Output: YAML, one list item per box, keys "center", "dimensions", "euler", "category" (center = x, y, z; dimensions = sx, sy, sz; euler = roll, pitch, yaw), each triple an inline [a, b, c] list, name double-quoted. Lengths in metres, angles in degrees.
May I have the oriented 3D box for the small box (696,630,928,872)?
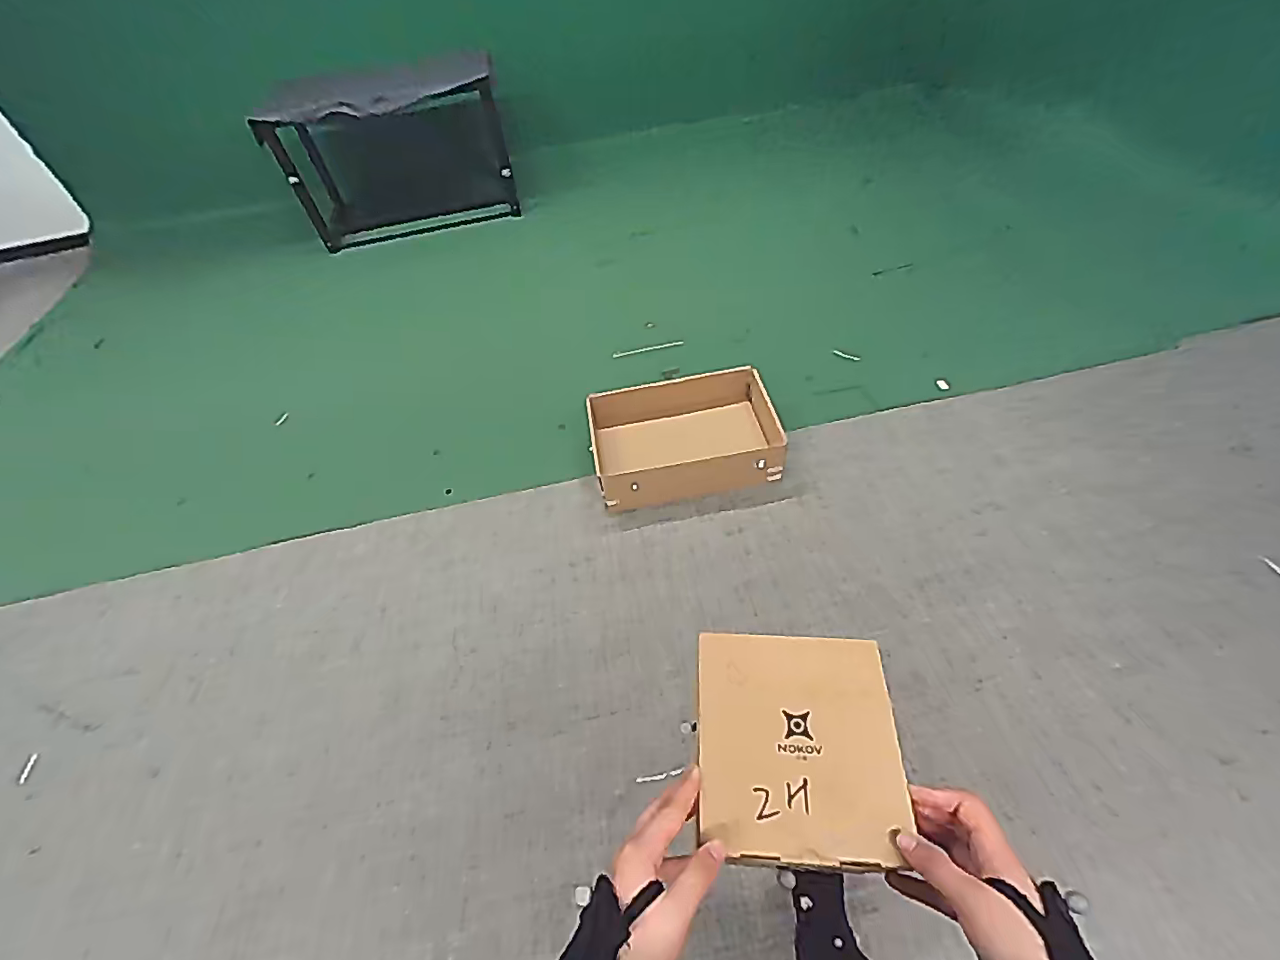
- center: [0.140, 0.261, 0.517]
  dimensions: [0.168, 0.176, 0.179]
  euler: [1, 54, 4]
  category: "small box"
